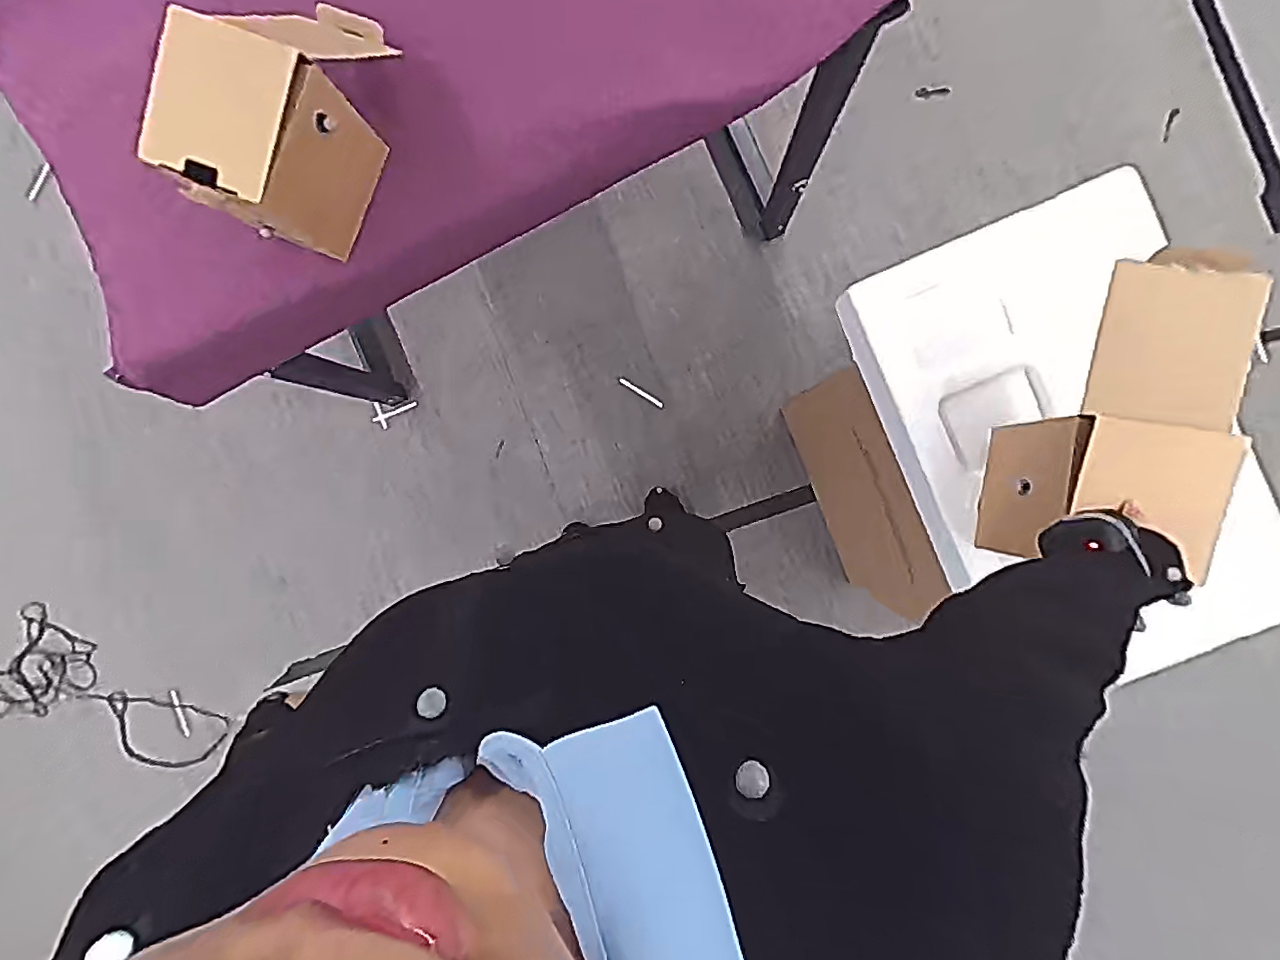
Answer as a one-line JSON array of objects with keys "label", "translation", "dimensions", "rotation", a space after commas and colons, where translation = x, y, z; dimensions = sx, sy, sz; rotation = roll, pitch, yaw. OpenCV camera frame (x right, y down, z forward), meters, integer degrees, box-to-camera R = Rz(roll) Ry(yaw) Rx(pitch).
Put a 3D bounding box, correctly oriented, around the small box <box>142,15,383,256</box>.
[{"label": "small box", "translation": [-0.468, -0.429, 0.702], "dimensions": [0.168, 0.176, 0.179], "rotation": [22, 91, 4]}]
